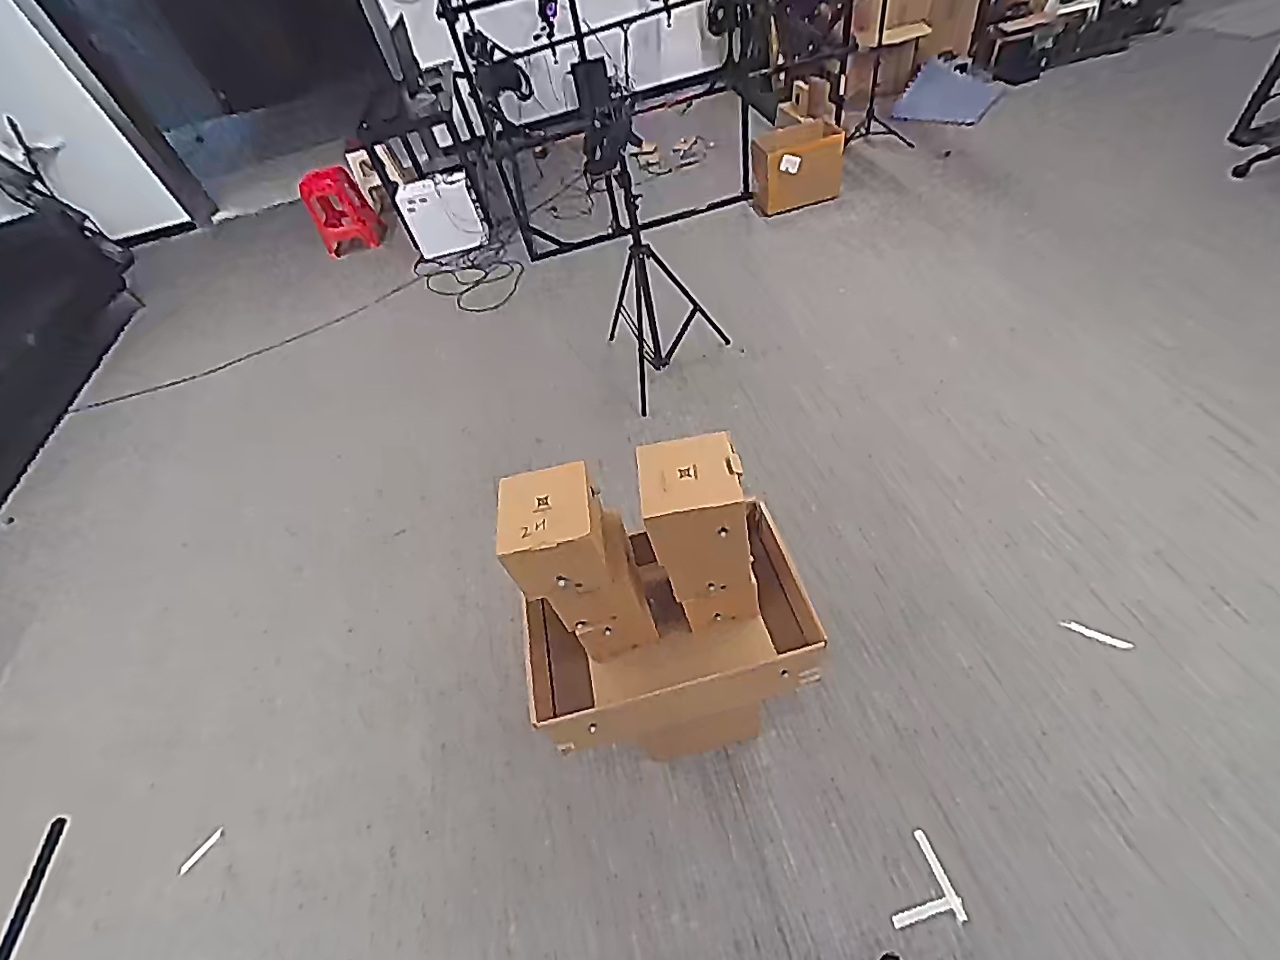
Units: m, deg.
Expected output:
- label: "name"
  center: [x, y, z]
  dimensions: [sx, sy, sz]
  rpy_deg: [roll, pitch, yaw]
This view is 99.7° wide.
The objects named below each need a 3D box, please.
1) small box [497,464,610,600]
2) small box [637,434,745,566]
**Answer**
- label: "small box"
  center: [-0.158, 0.100, 1.016]
  dimensions: [0.168, 0.176, 0.179]
  rpy_deg: [-12, 51, 3]
- label: "small box"
  center: [0.097, 0.041, 1.008]
  dimensions: [0.179, 0.176, 0.168]
  rpy_deg: [-10, 51, 6]
